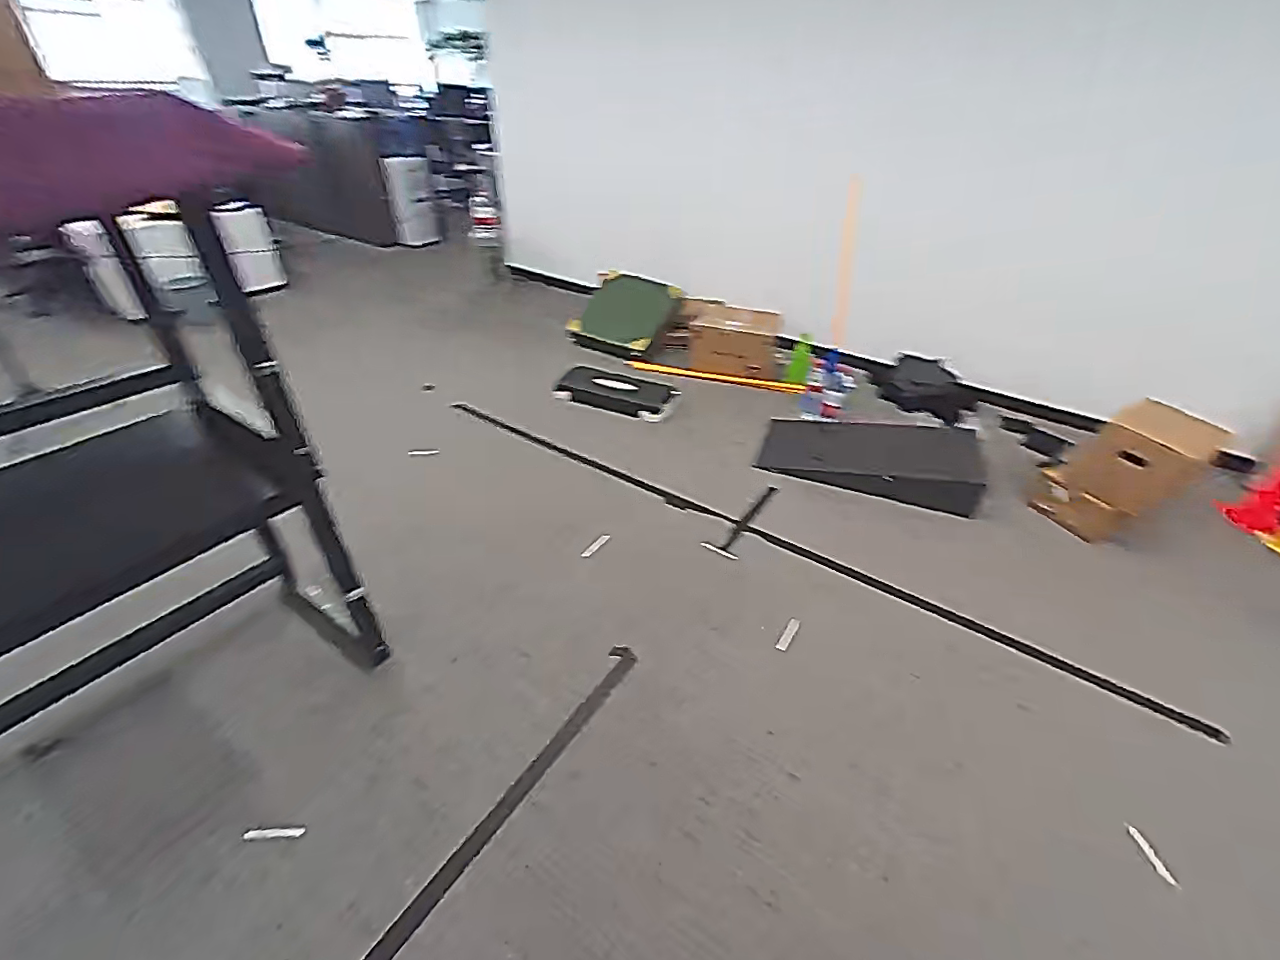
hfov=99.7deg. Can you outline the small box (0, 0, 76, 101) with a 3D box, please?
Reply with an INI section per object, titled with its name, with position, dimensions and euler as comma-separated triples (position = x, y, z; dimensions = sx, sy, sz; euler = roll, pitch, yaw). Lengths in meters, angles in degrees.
[small box]
position = -0.956, -0.637, 0.761
dimensions = 0.168, 0.176, 0.179
euler = 26, 43, 31
